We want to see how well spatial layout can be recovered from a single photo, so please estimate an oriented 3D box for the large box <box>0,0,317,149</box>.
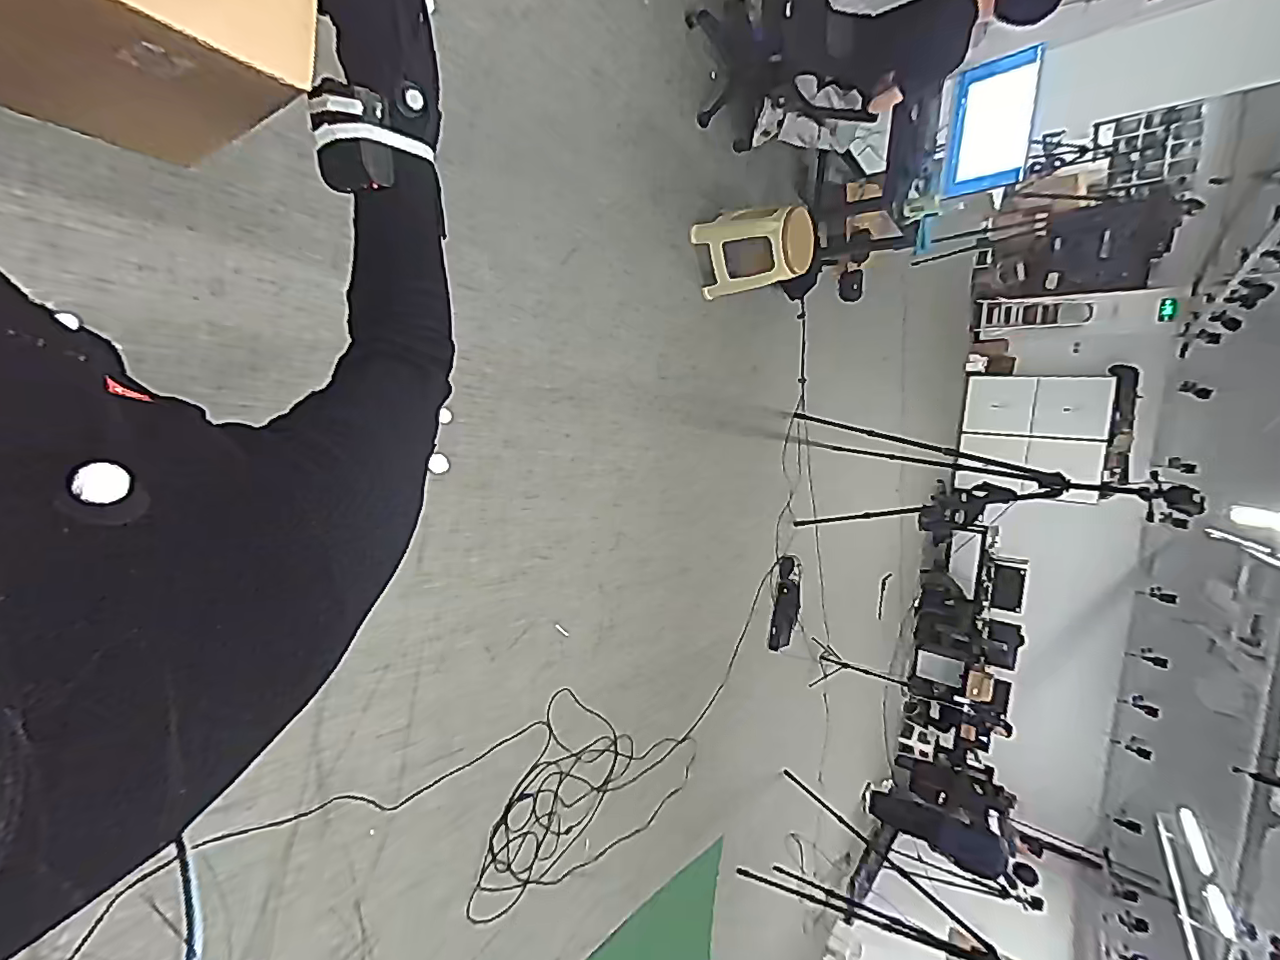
[{"bbox_3d":[-0.447,-0.450,0.291,0.408,0.320,0.320,-2,103,-51],"label":"large box"}]
